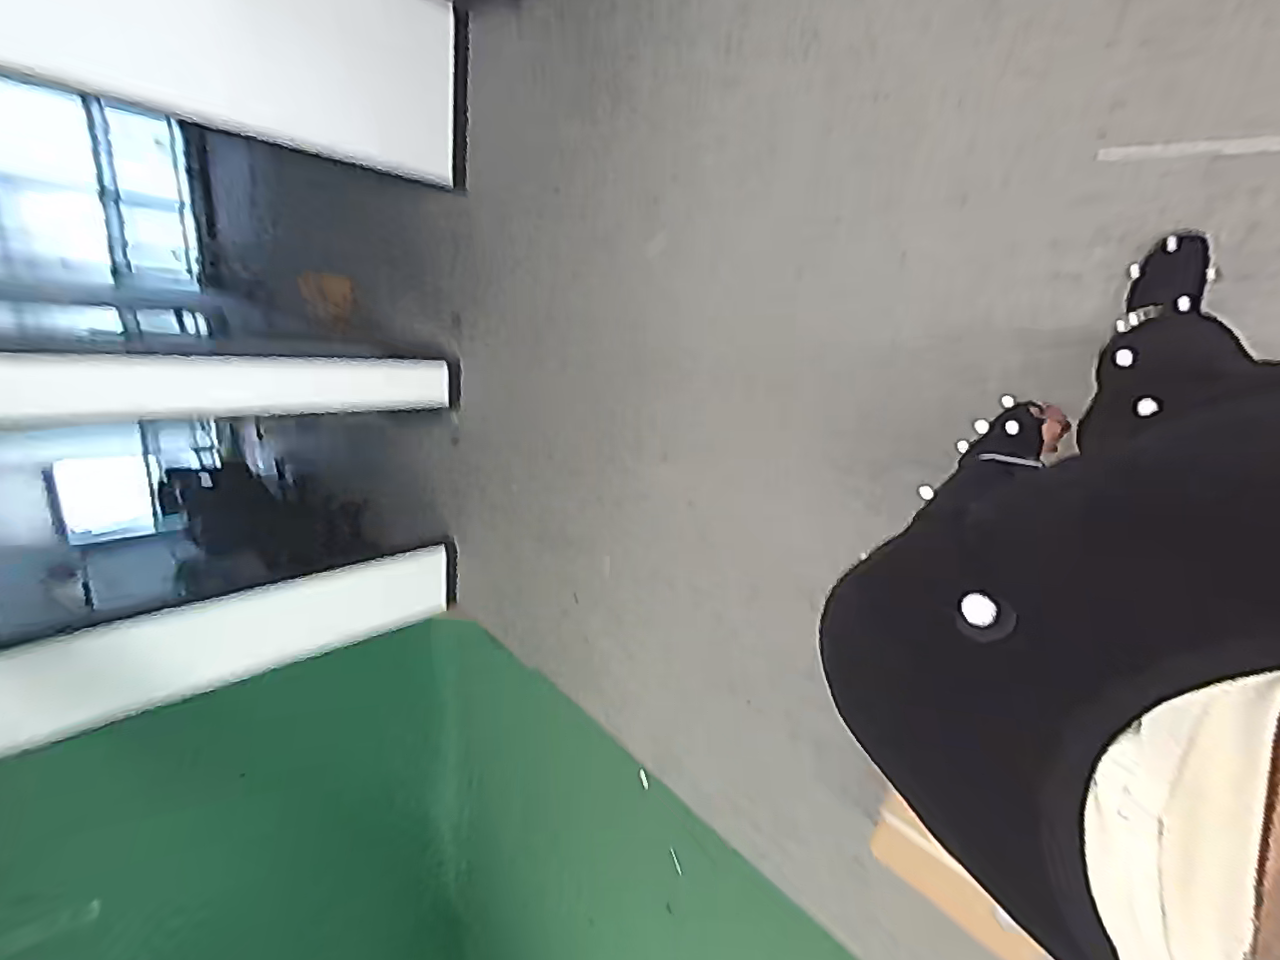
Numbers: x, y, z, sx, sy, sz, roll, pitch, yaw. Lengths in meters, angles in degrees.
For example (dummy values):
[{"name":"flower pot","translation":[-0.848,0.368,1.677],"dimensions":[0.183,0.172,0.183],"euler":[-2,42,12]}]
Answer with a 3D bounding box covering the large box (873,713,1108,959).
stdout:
[{"name":"large box","translation":[0.904,0.904,1.413],"dimensions":[0.408,0.320,0.320],"euler":[25,115,40]}]
